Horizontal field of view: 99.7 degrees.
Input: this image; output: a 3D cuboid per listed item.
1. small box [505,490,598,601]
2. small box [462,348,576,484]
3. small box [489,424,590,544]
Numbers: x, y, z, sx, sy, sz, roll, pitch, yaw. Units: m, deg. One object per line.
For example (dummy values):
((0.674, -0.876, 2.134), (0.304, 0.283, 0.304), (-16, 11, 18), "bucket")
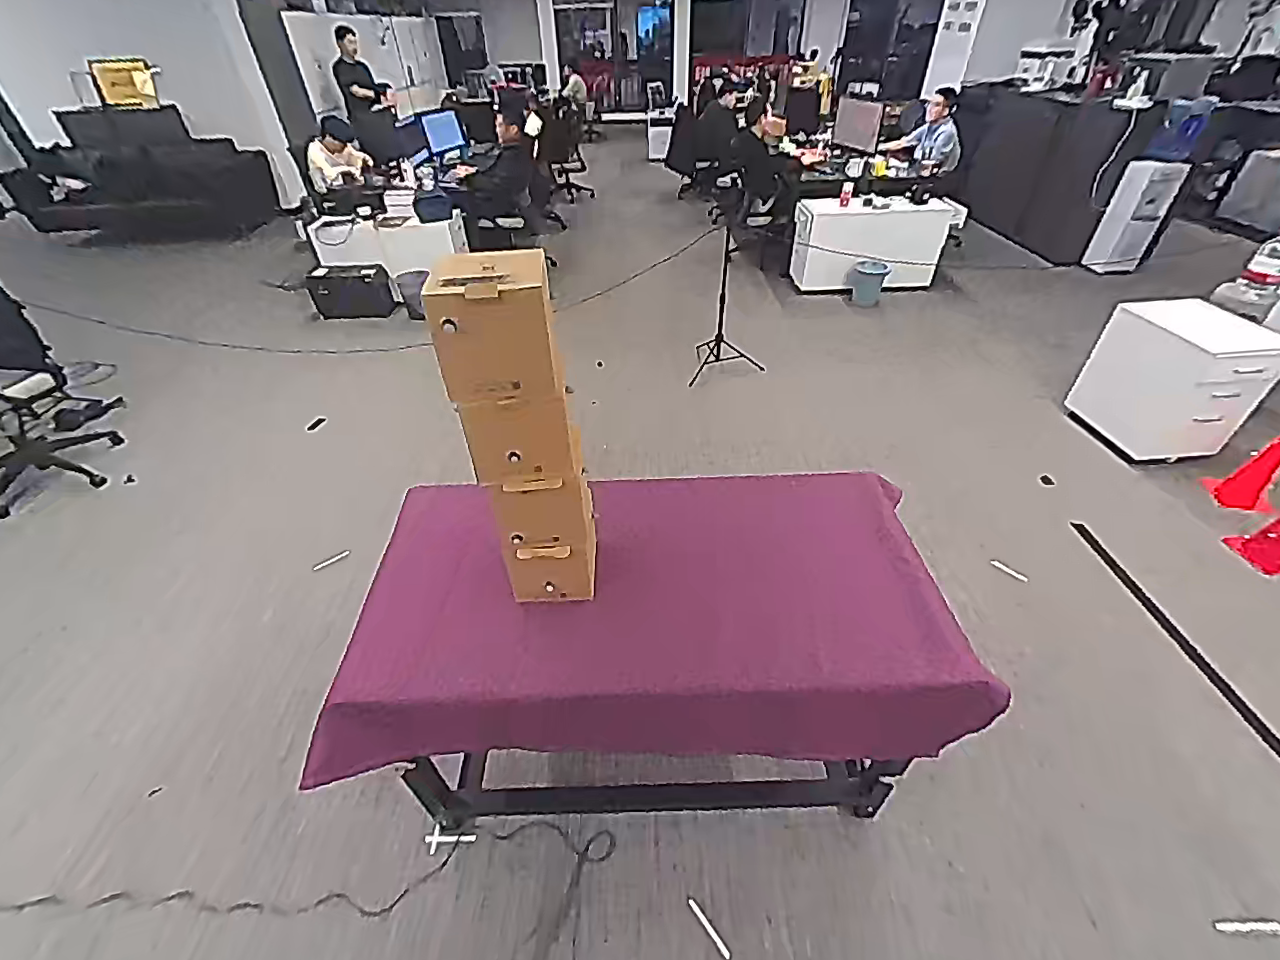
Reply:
((-0.180, 0.139, 1.156), (0.168, 0.176, 0.179), (-2, 40, 1), "small box")
((-0.204, -0.114, 0.950), (0.168, 0.176, 0.179), (-7, 40, -6), "small box")
((-0.185, 0.012, 1.052), (0.168, 0.176, 0.179), (-4, 39, -3), "small box")
